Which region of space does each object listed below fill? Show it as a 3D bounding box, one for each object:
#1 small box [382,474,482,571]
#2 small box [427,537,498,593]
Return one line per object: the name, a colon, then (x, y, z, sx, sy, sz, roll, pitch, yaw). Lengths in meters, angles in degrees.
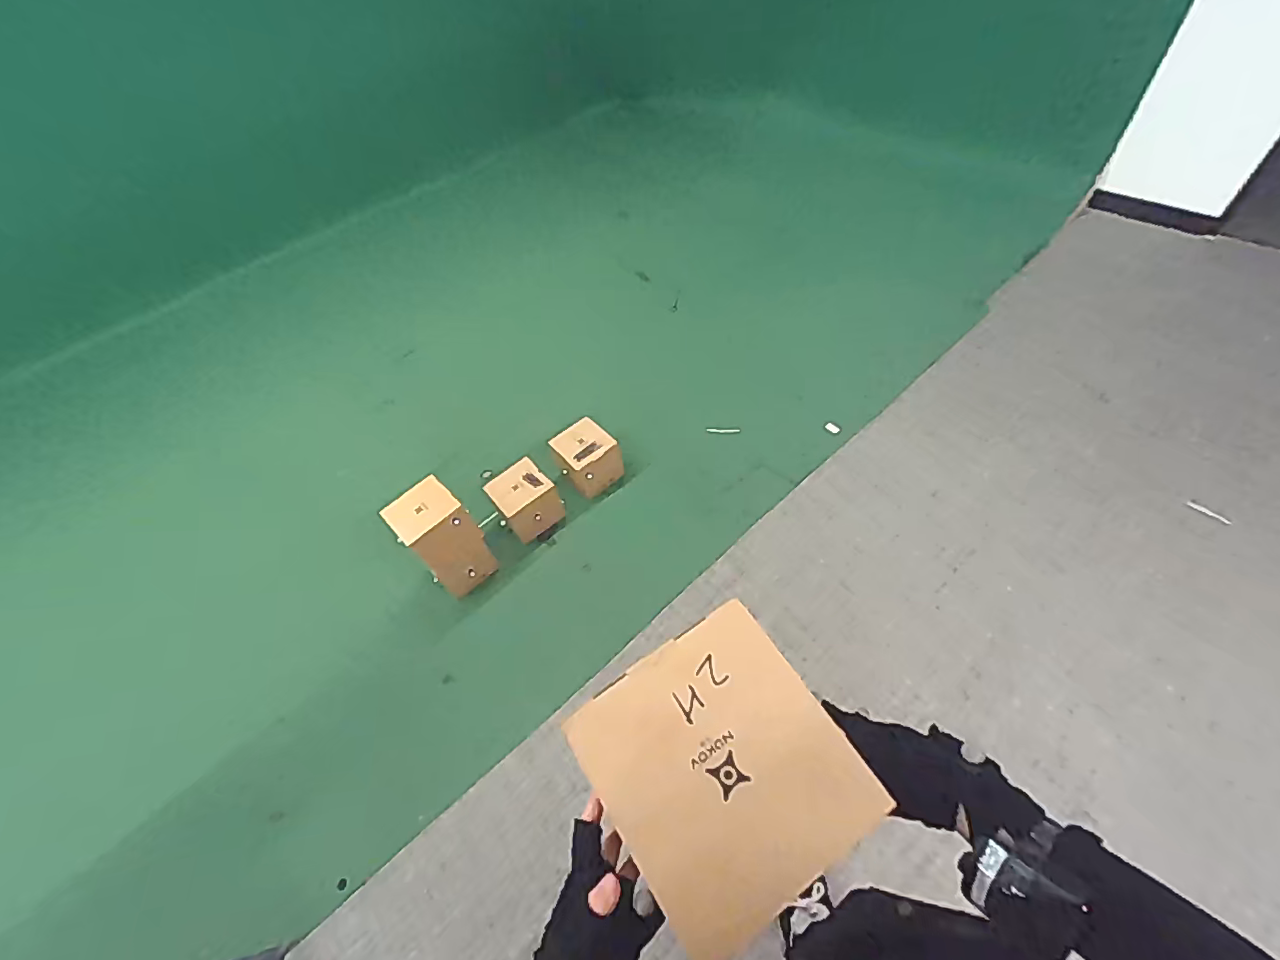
small box: (-0.581, 0.125, 1.526, 0.179, 0.176, 0.168, -41, 58, -20)
small box: (-0.563, 0.224, 1.655, 0.168, 0.176, 0.179, -39, 59, -19)
